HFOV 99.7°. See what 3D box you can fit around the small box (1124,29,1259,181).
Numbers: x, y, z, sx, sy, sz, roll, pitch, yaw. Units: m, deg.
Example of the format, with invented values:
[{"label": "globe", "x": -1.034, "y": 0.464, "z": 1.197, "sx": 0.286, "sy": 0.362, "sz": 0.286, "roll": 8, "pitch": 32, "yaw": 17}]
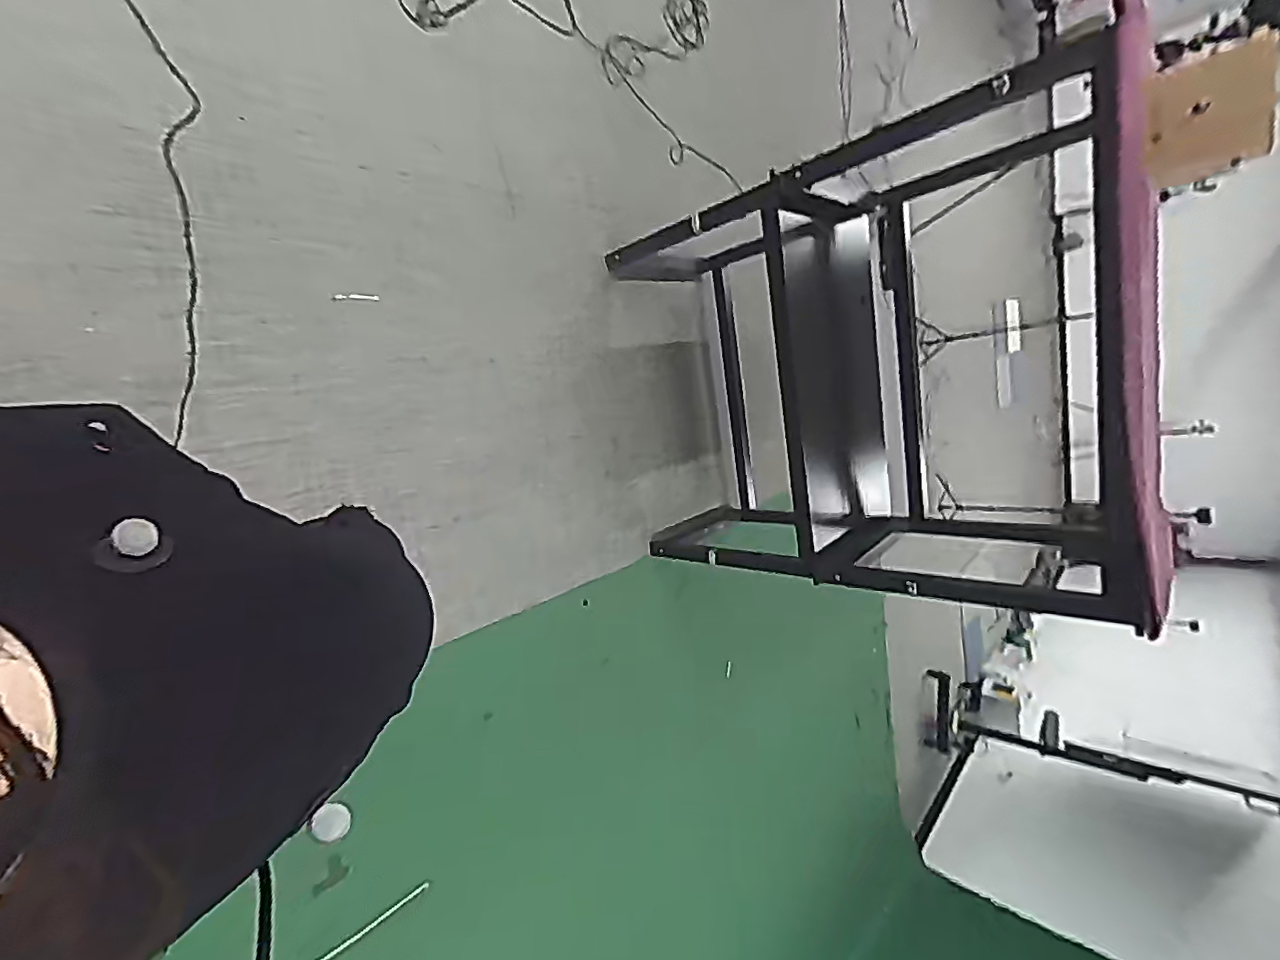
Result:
[{"label": "small box", "x": 1.030, "y": -0.686, "z": 1.018, "sx": 0.179, "sy": 0.176, "sz": 0.168, "roll": -19, "pitch": 105, "yaw": -43}]
